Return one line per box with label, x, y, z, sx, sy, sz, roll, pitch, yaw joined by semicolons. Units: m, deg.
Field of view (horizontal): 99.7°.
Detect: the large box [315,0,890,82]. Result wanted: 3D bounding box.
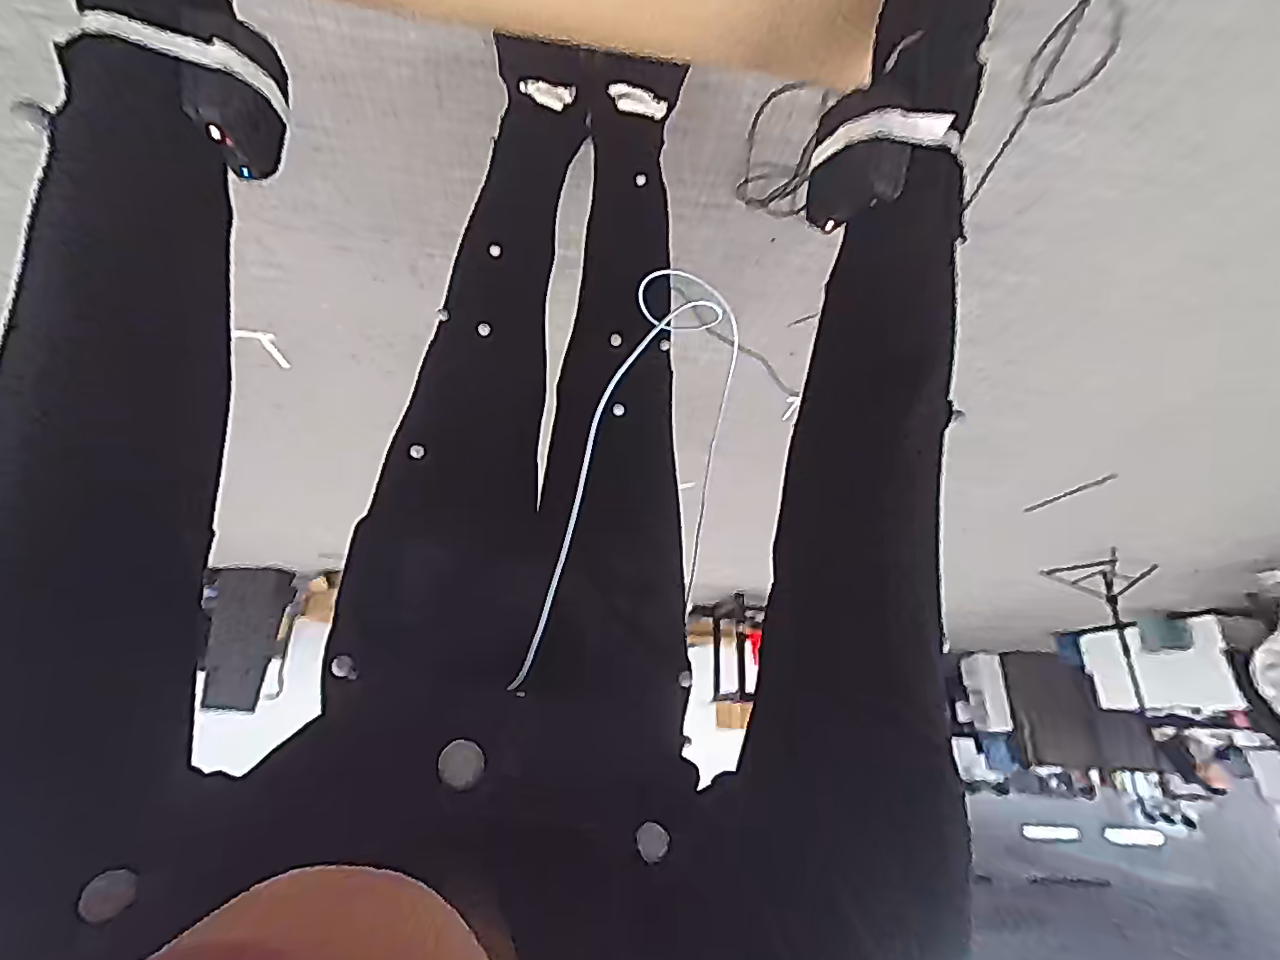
large box;-0.013;-0.521;0.344;0.408;0.320;0.320;5;149;-6
